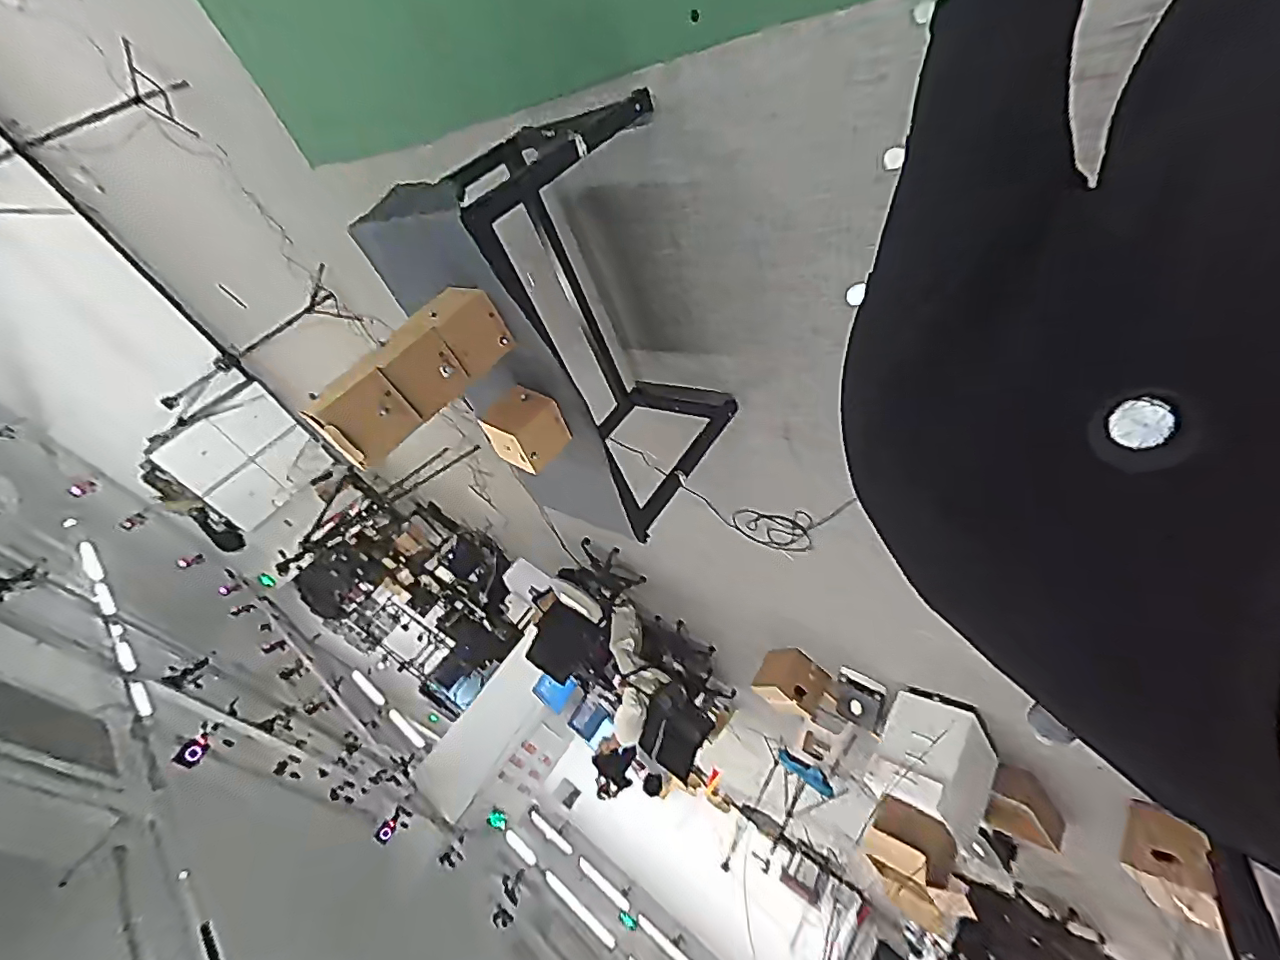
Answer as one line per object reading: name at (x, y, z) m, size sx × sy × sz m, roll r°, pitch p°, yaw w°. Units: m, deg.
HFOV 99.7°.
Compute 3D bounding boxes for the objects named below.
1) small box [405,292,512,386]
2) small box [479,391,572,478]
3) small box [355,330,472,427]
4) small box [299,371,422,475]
small box at (-0.459, -0.369, 1.402) m, size 0.179 × 0.176 × 0.168 m, roll 20°, pitch 149°, yaw 40°
small box at (-0.335, -0.142, 1.605) m, size 0.179 × 0.176 × 0.168 m, roll 25°, pitch 151°, yaw 32°
small box at (-0.552, -0.255, 1.333) m, size 0.179 × 0.176 × 0.168 m, roll 15°, pitch 147°, yaw 42°
small box at (-0.644, -0.139, 1.258) m, size 0.179 × 0.176 × 0.168 m, roll 14°, pitch 146°, yaw 45°
